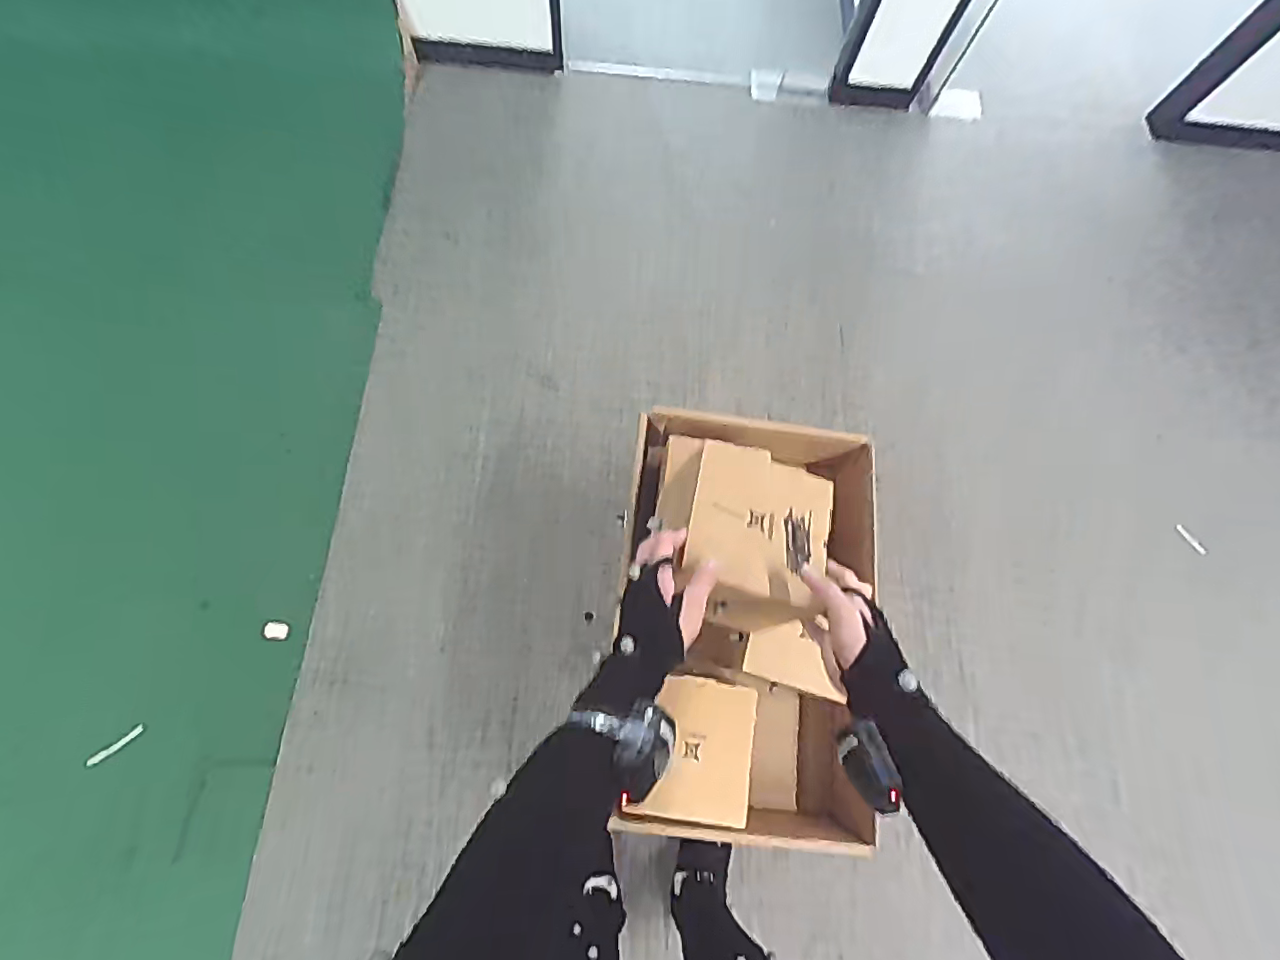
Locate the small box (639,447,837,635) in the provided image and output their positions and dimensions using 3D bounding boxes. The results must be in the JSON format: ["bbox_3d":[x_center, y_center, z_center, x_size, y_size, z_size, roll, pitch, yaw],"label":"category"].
[{"bbox_3d":[0.116,0.088,0.675,0.179,0.176,0.168,19,63,-9],"label":"small box"}]
